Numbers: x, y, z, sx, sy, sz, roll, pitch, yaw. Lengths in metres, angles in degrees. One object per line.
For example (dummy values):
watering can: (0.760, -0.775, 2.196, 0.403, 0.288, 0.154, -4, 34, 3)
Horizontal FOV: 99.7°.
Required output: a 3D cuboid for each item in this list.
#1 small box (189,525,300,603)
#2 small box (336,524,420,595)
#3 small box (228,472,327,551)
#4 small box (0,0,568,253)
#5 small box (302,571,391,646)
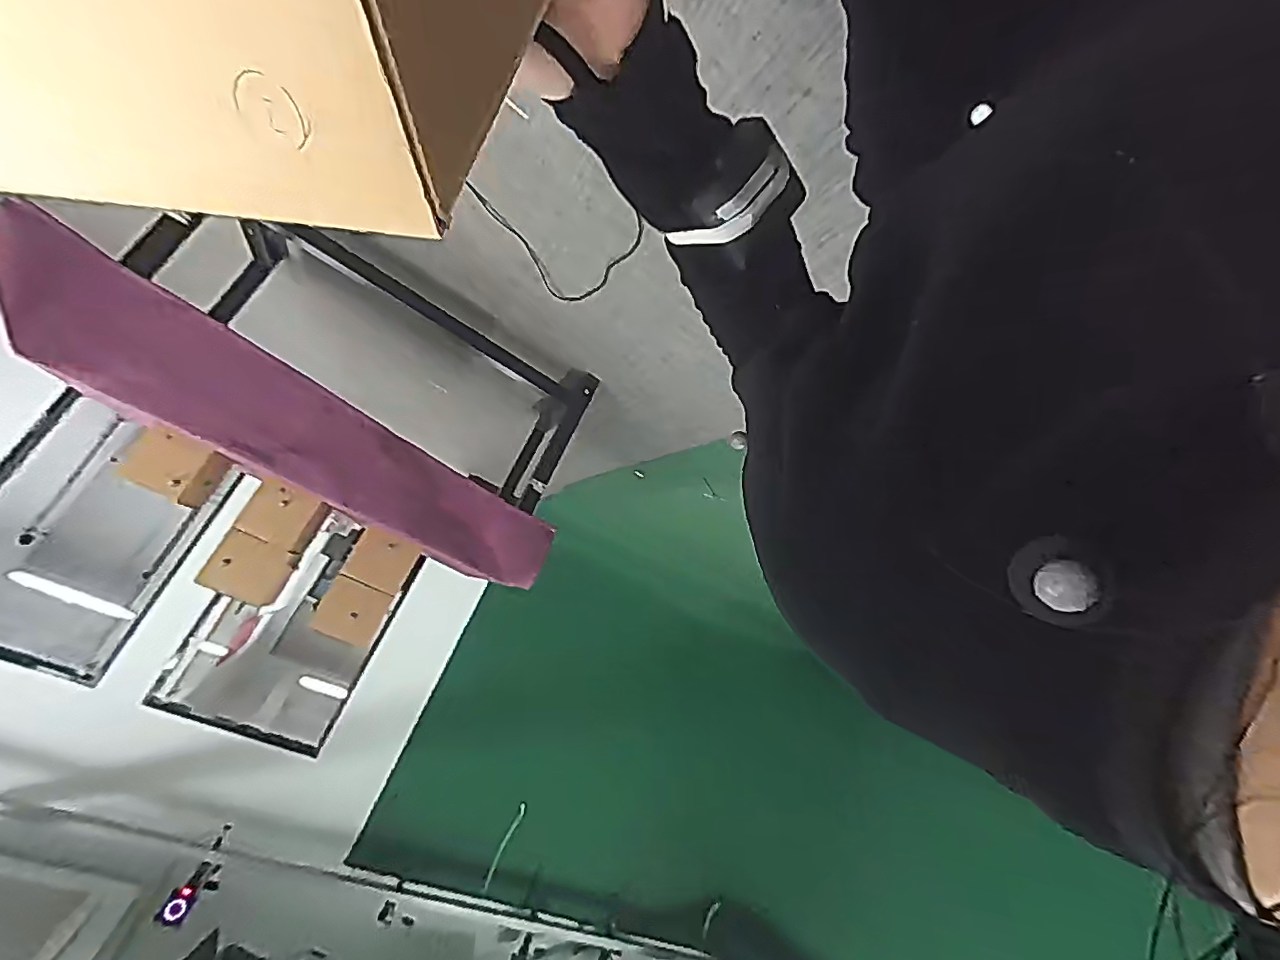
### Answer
small box: (-1.128, 0.238, 1.558, 0.179, 0.176, 0.168, 30, 162, -15)
small box: (-0.824, 0.246, 1.705, 0.179, 0.176, 0.168, 32, 161, -18)
small box: (-1.066, 0.097, 1.613, 0.168, 0.176, 0.179, 29, 160, -13)
small box: (-0.119, -0.199, 0.149, 0.168, 0.176, 0.179, 8, 150, 2)
small box: (-0.891, 0.387, 1.652, 0.179, 0.176, 0.168, 31, 160, -18)
